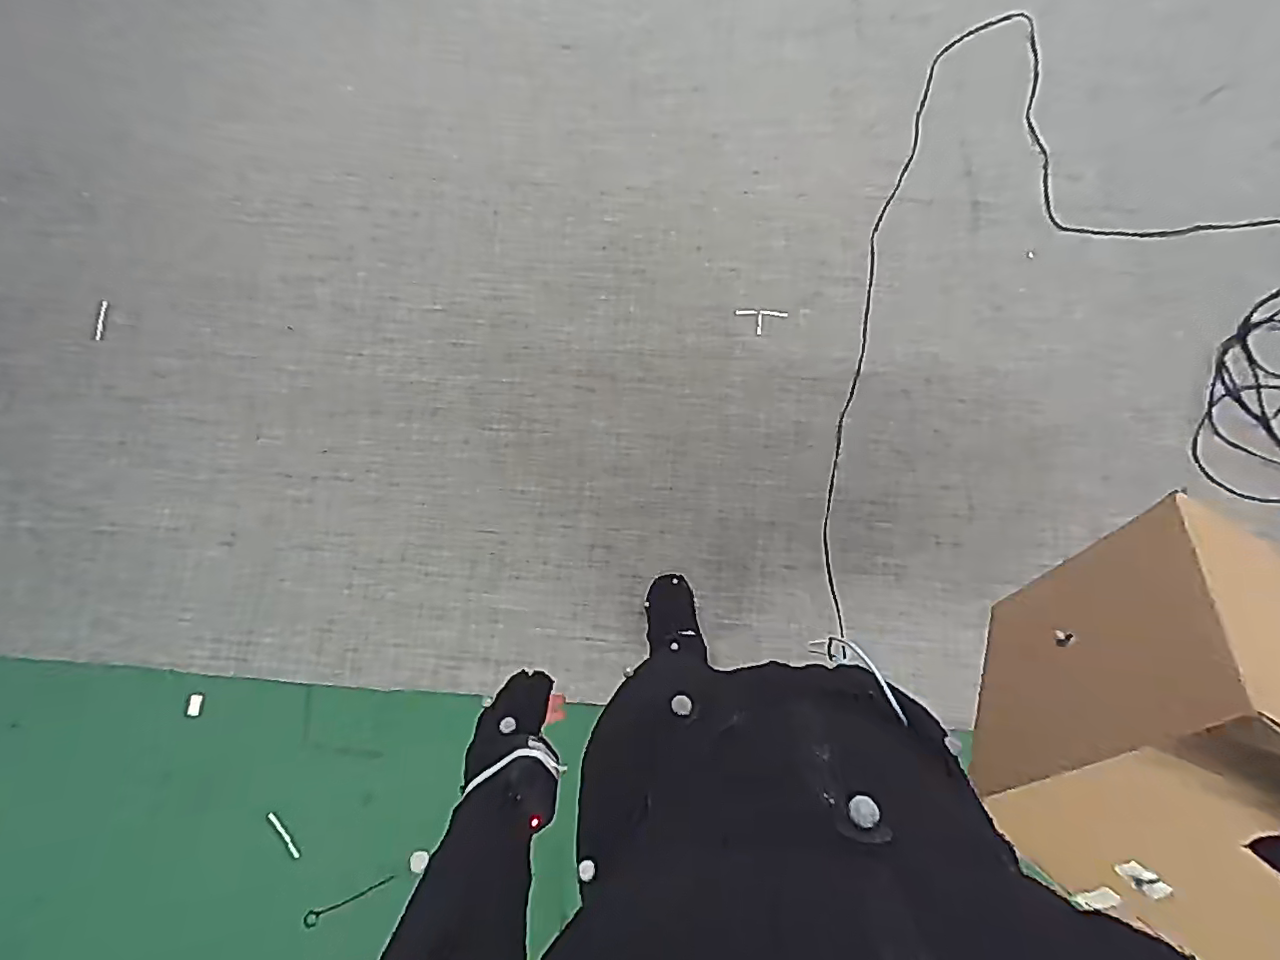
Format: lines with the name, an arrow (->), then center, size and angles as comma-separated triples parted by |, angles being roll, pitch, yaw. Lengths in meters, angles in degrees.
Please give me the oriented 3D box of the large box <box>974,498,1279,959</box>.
large box -> 0.666, 0.301, 0.659 | 0.320, 0.320, 0.408 | 40, 43, 10
